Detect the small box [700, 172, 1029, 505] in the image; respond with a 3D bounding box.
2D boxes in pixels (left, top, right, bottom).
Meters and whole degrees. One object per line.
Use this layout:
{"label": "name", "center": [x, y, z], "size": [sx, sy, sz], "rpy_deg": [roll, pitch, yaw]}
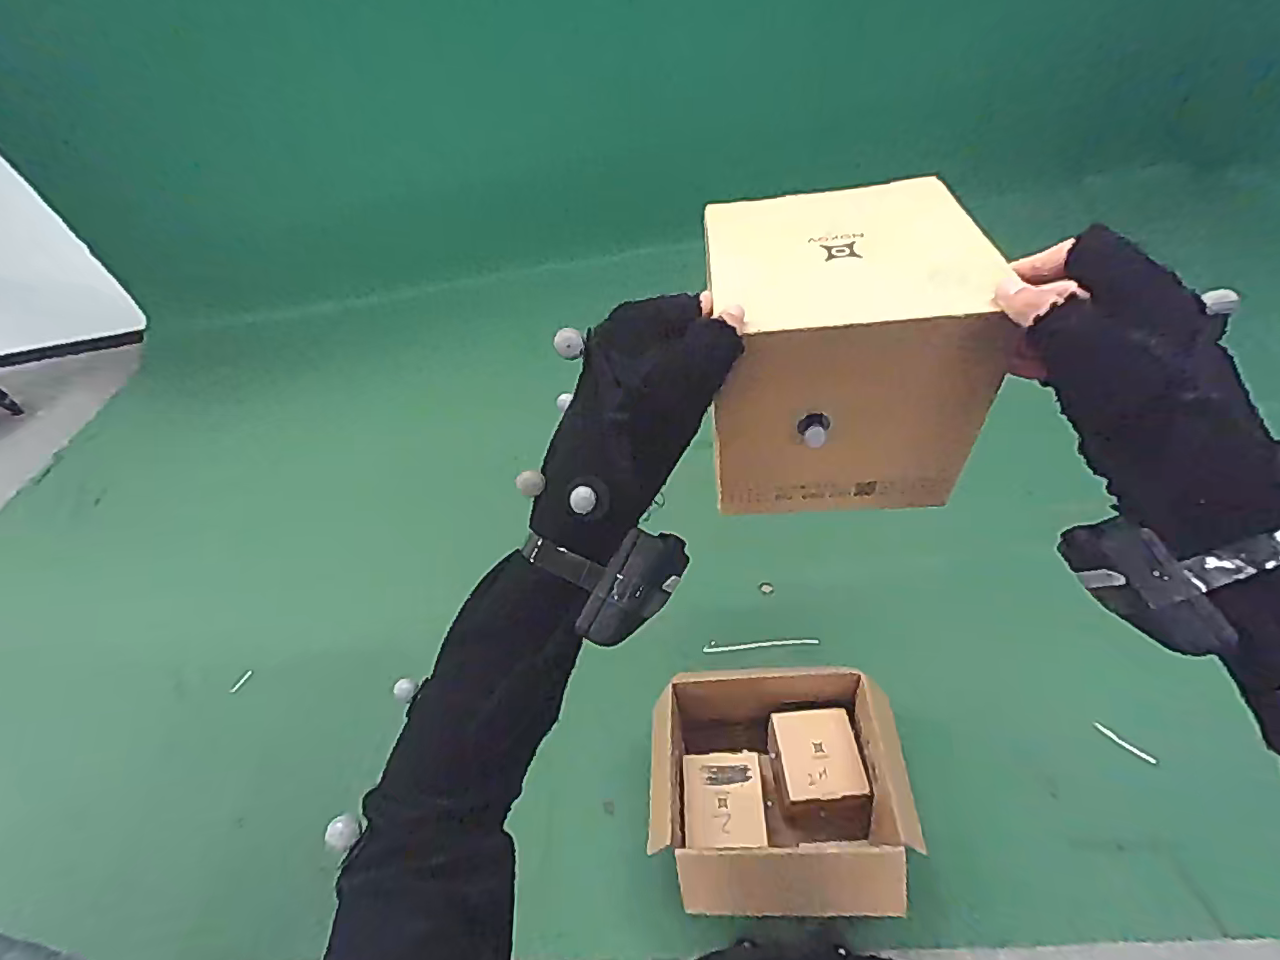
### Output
{"label": "small box", "center": [0.132, -0.093, 0.394], "size": [0.168, 0.176, 0.179], "rpy_deg": [-3, 47, 8]}
